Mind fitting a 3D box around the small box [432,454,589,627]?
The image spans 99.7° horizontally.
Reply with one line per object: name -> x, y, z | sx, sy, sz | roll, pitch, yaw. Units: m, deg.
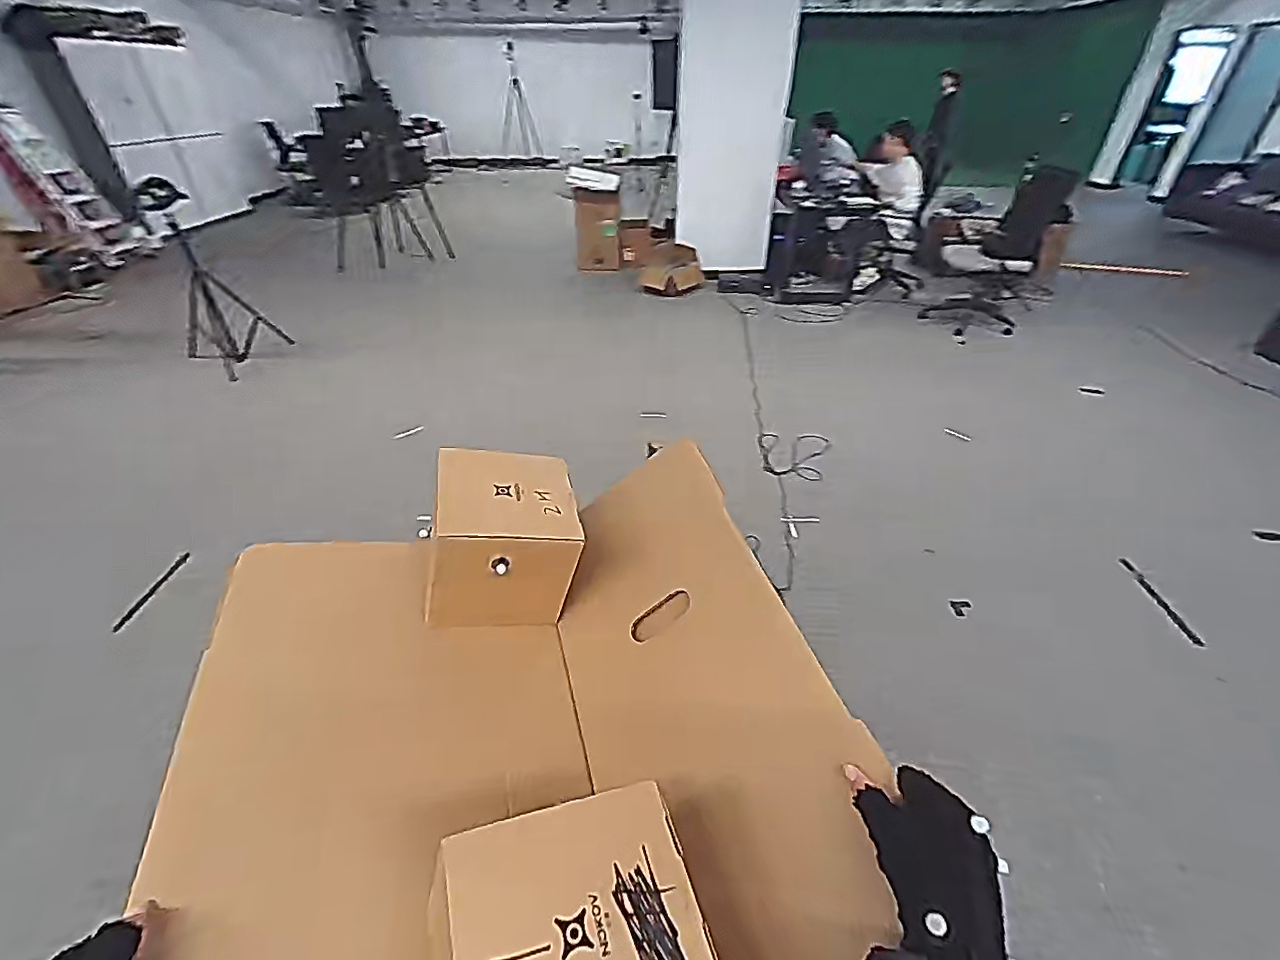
small box -> -0.183, 0.086, 0.739 | 0.179, 0.176, 0.168 | 6, 38, -22
